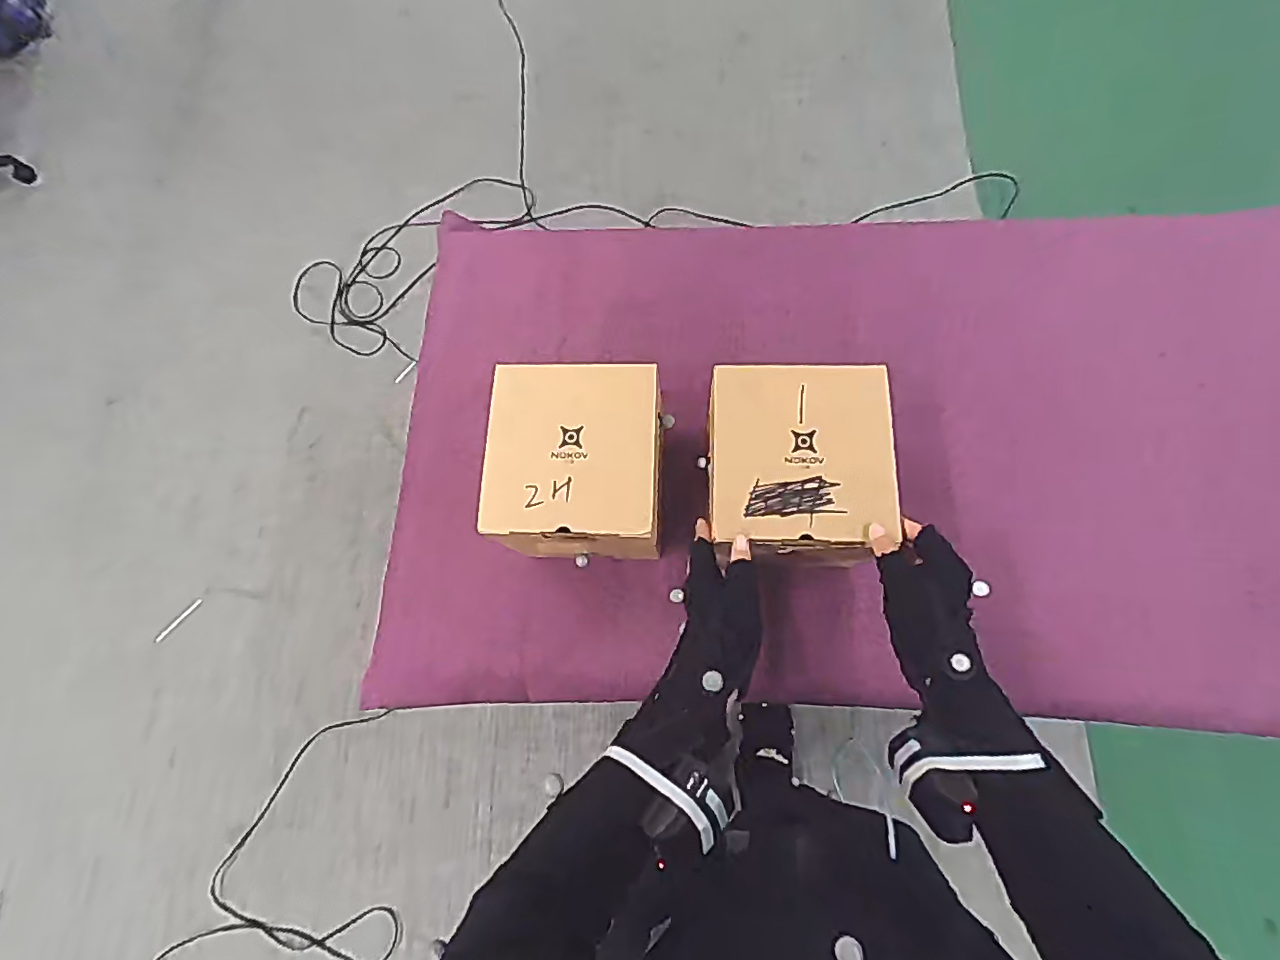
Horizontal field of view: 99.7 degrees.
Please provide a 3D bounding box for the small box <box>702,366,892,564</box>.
[{"bbox_3d":[0.153,-0.006,0.581,0.168,0.176,0.179,1,74,5],"label":"small box"}]

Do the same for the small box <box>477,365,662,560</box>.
[{"bbox_3d":[-0.063,-0.011,0.600,0.168,0.176,0.179,1,75,5],"label":"small box"}]
